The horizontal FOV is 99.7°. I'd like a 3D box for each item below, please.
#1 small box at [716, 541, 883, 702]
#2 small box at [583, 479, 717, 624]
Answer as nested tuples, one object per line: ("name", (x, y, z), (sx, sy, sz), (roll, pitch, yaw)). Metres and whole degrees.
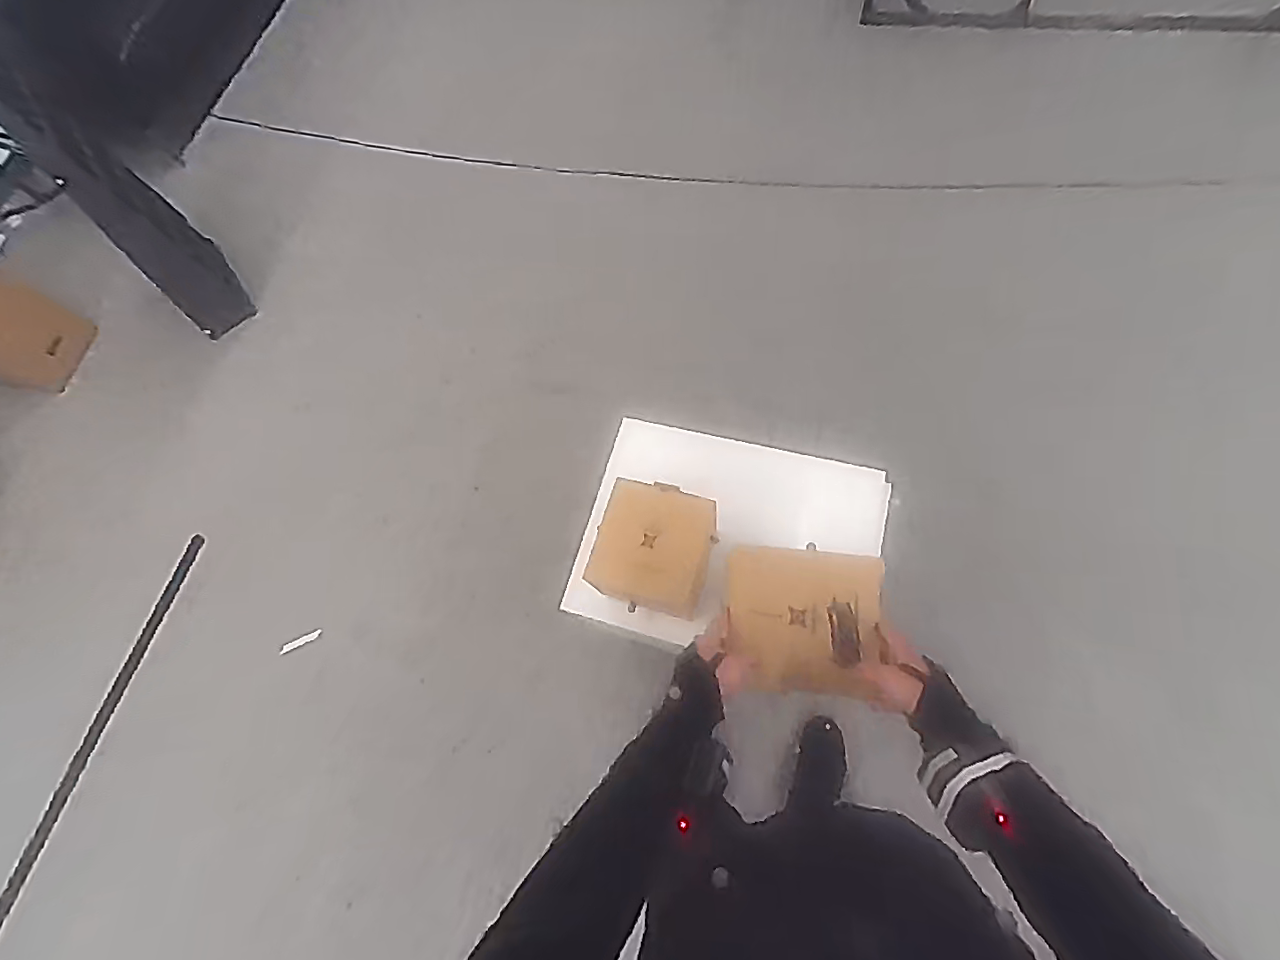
("small box", (0.197, 0.177, 0.707), (0.179, 0.176, 0.168), (5, 78, 6))
("small box", (0.025, 0.124, 0.897), (0.168, 0.176, 0.179), (14, 71, 14))
